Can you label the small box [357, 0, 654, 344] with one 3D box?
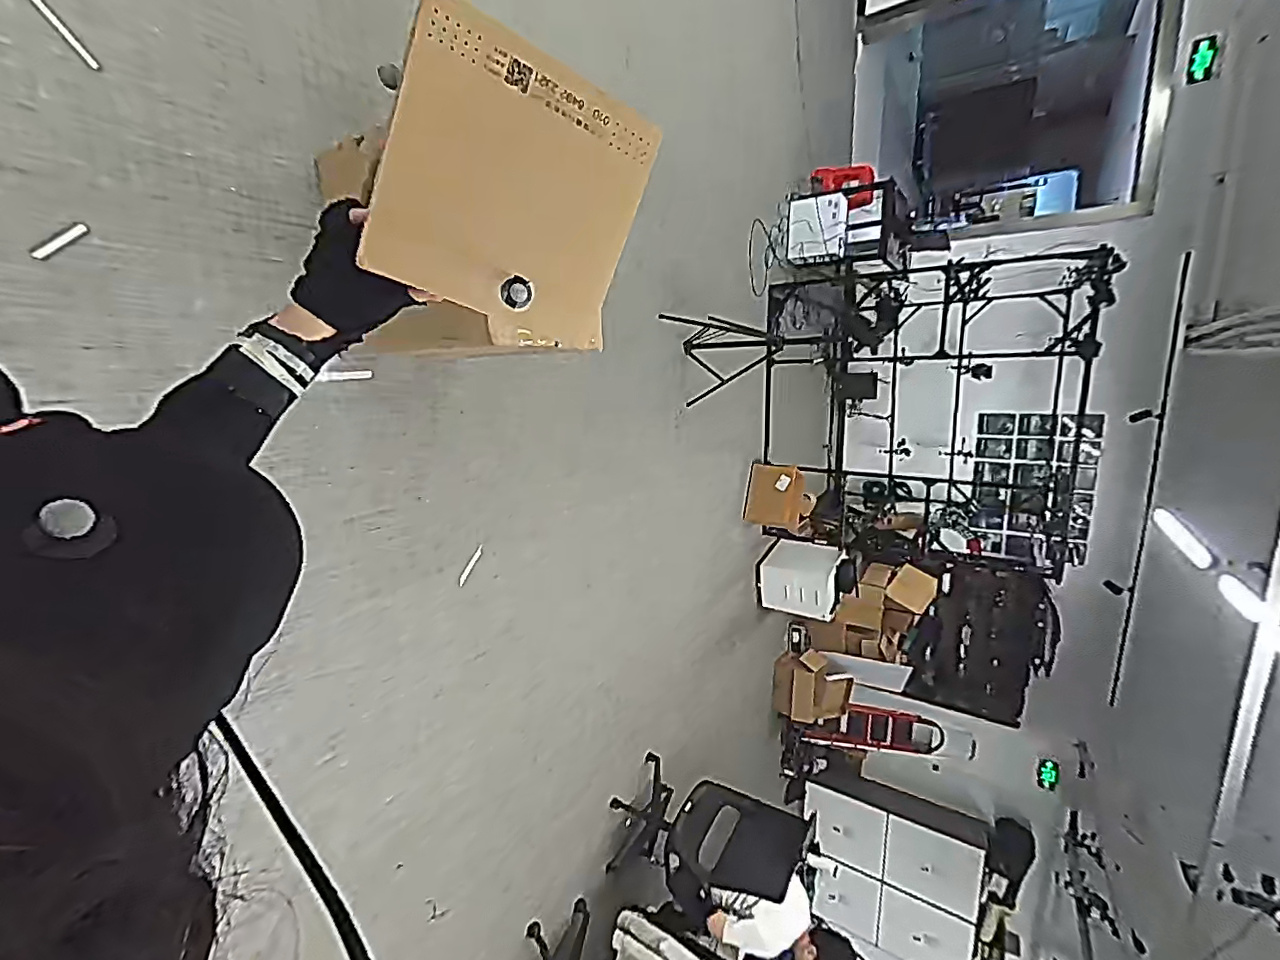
[{"bbox_3d":[-0.111,-0.231,0.427,0.168,0.179,0.176,15,107,-30],"label":"small box"}]
